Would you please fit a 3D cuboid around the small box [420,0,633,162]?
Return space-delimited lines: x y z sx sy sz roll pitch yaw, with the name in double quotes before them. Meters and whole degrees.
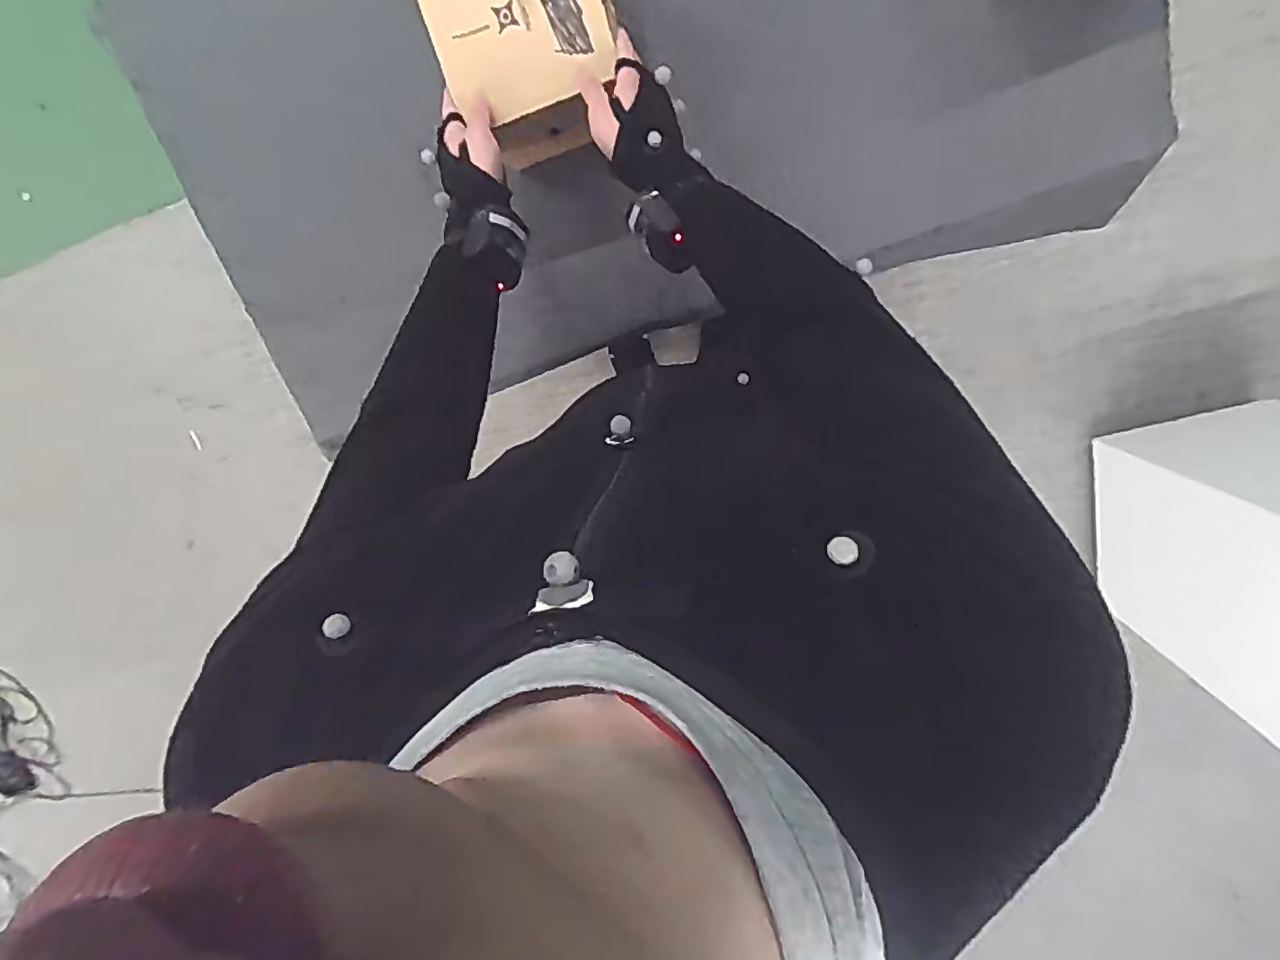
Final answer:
"small box" -0.110 -0.469 0.577 0.179 0.176 0.168 -14 107 10
